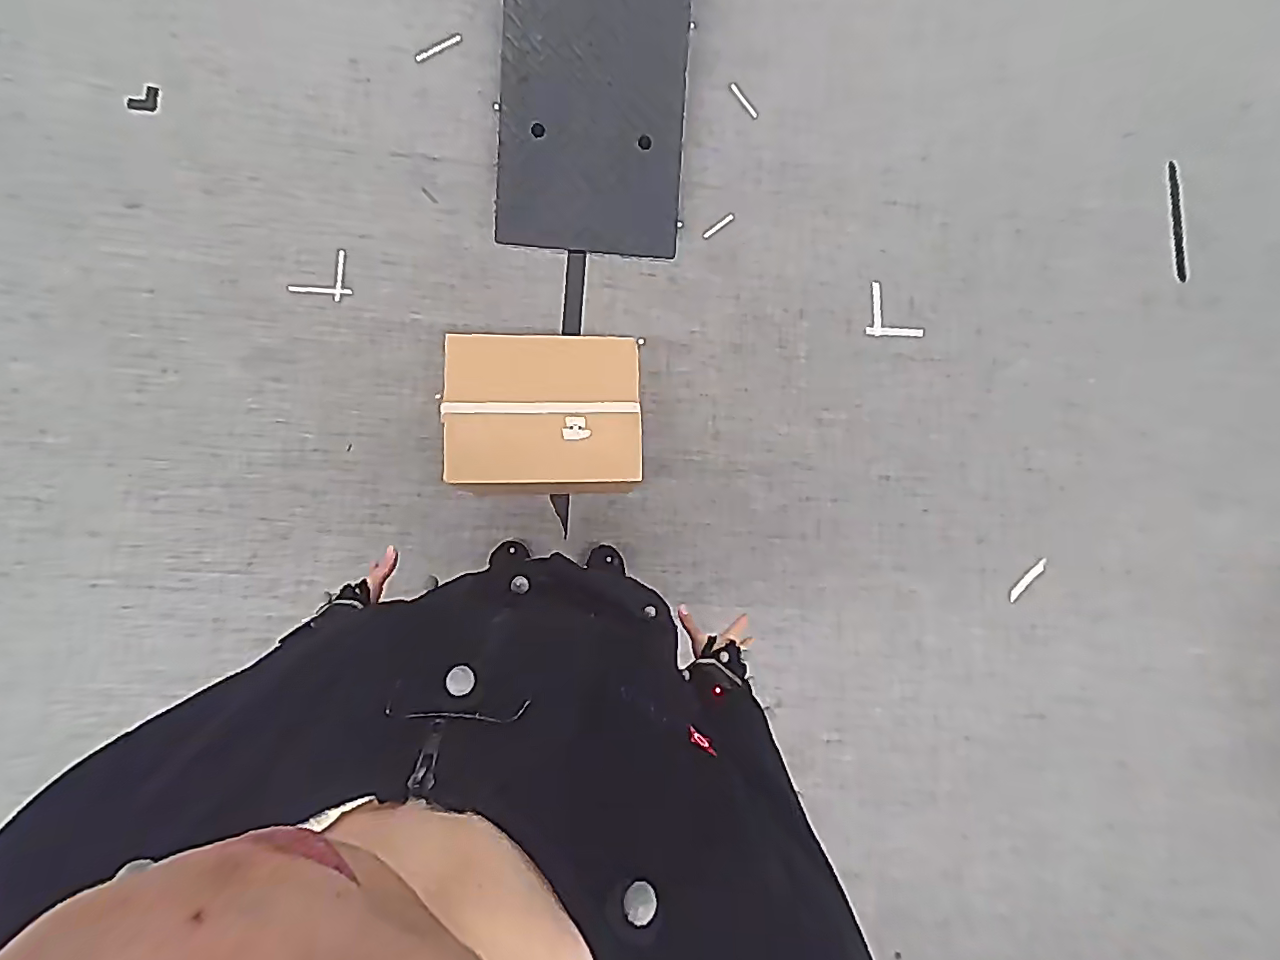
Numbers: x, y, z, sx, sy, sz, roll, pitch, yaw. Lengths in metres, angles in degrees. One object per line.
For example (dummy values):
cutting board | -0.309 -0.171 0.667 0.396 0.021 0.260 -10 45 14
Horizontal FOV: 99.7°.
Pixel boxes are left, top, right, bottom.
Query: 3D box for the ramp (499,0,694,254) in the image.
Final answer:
ramp | -0.106 -1.132 1.431 0.509 0.206 0.991 2 85 -7

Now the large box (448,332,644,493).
large box | -0.212 -0.141 1.269 0.408 0.320 0.320 0 85 -7
